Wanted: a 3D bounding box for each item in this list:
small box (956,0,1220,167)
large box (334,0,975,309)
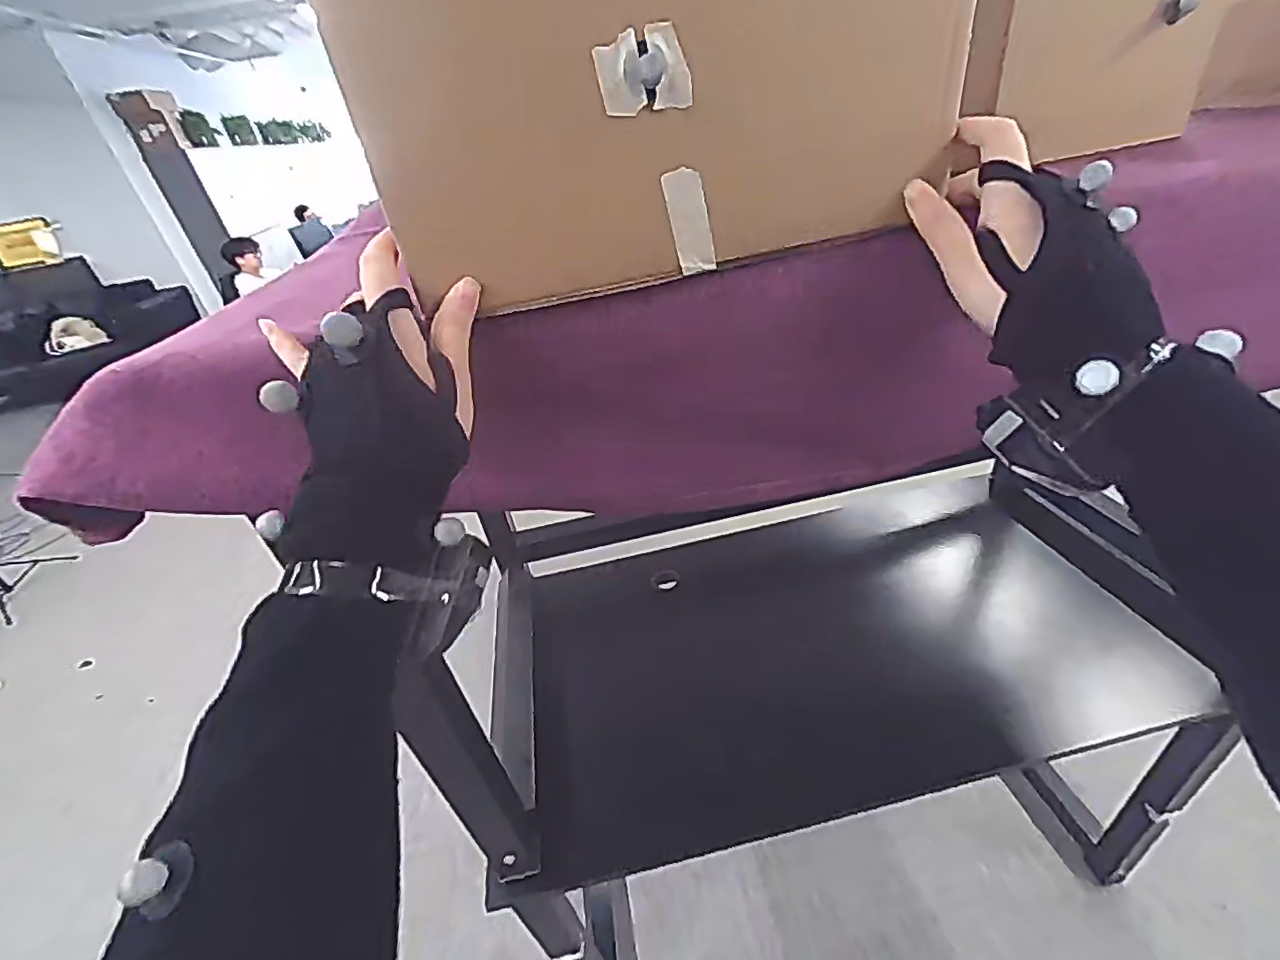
[{"bbox_3d":[0.333,-0.378,0.456,0.179,0.176,0.168,-12,33,-2],"label":"small box"},{"bbox_3d":[-0.029,-0.345,0.384,0.320,0.320,0.408,-14,33,-6],"label":"large box"}]
